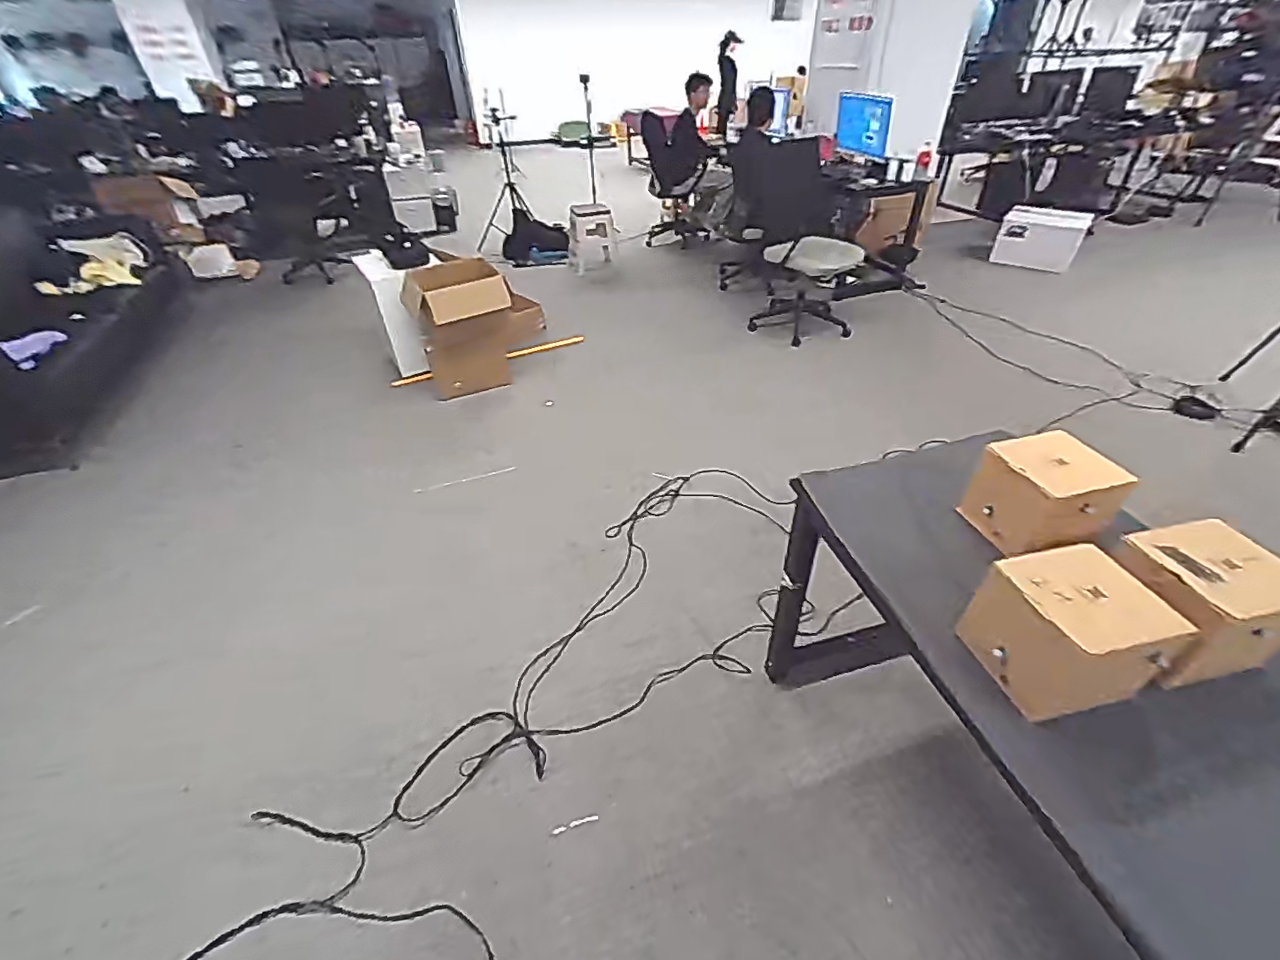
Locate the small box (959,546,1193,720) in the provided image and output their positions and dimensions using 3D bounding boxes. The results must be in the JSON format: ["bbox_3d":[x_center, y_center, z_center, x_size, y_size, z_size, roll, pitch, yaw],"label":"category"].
[{"bbox_3d":[0.619,0.224,0.797,0.179,0.176,0.168,-9,39,-9],"label":"small box"}]

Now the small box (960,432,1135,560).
[{"bbox_3d":[0.758,0.034,1.031,0.179,0.176,0.168,-11,40,-10],"label":"small box"}]

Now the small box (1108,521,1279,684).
[{"bbox_3d":[0.842,0.189,0.833,0.179,0.176,0.168,-8,40,-9],"label":"small box"}]
